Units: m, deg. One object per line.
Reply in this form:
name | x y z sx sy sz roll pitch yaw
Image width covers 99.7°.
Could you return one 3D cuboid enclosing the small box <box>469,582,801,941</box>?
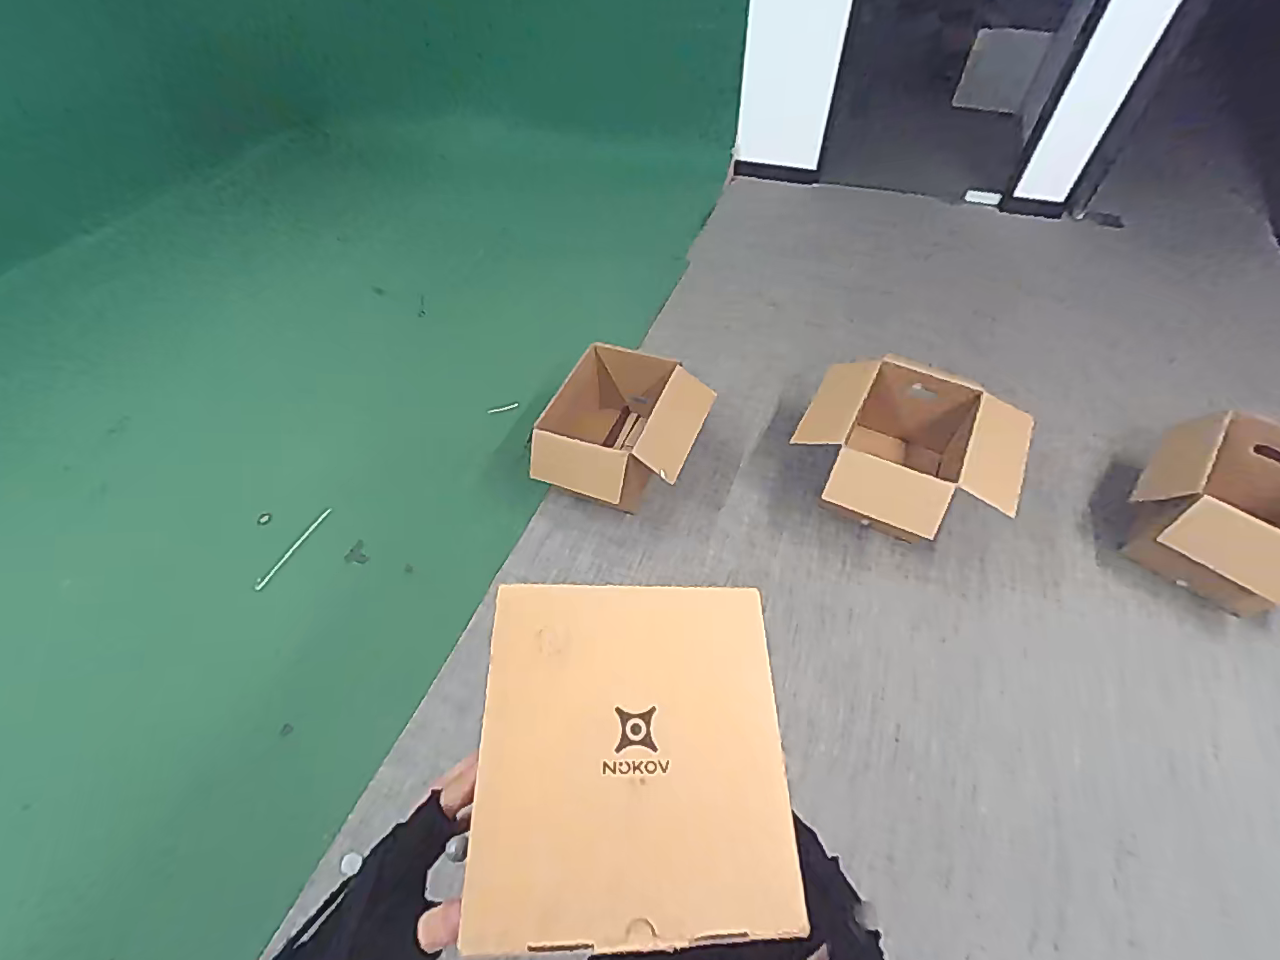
small box | -0.013 0.182 0.370 0.168 0.176 0.179 2 60 -8
